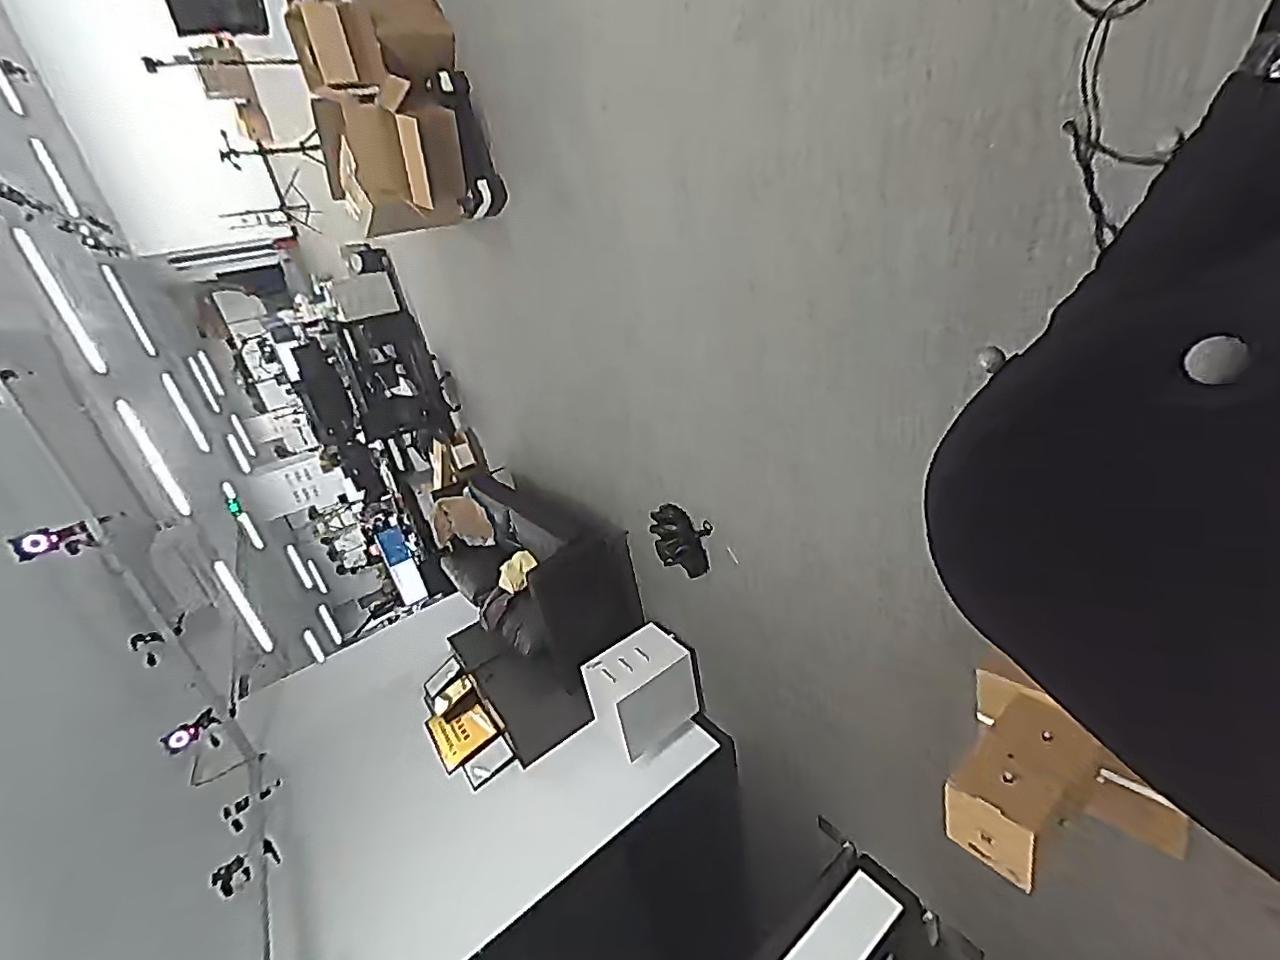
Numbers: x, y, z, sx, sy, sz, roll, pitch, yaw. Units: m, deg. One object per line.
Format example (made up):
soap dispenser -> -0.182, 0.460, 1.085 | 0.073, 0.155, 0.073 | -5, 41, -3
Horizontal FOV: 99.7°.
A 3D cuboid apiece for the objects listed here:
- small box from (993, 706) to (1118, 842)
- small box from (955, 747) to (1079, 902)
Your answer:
small box -> 0.916, 0.639, 1.205 | 0.179, 0.176, 0.168 | 18, 127, 52
small box -> 0.787, 0.707, 1.132 | 0.168, 0.176, 0.179 | 17, 126, 54
